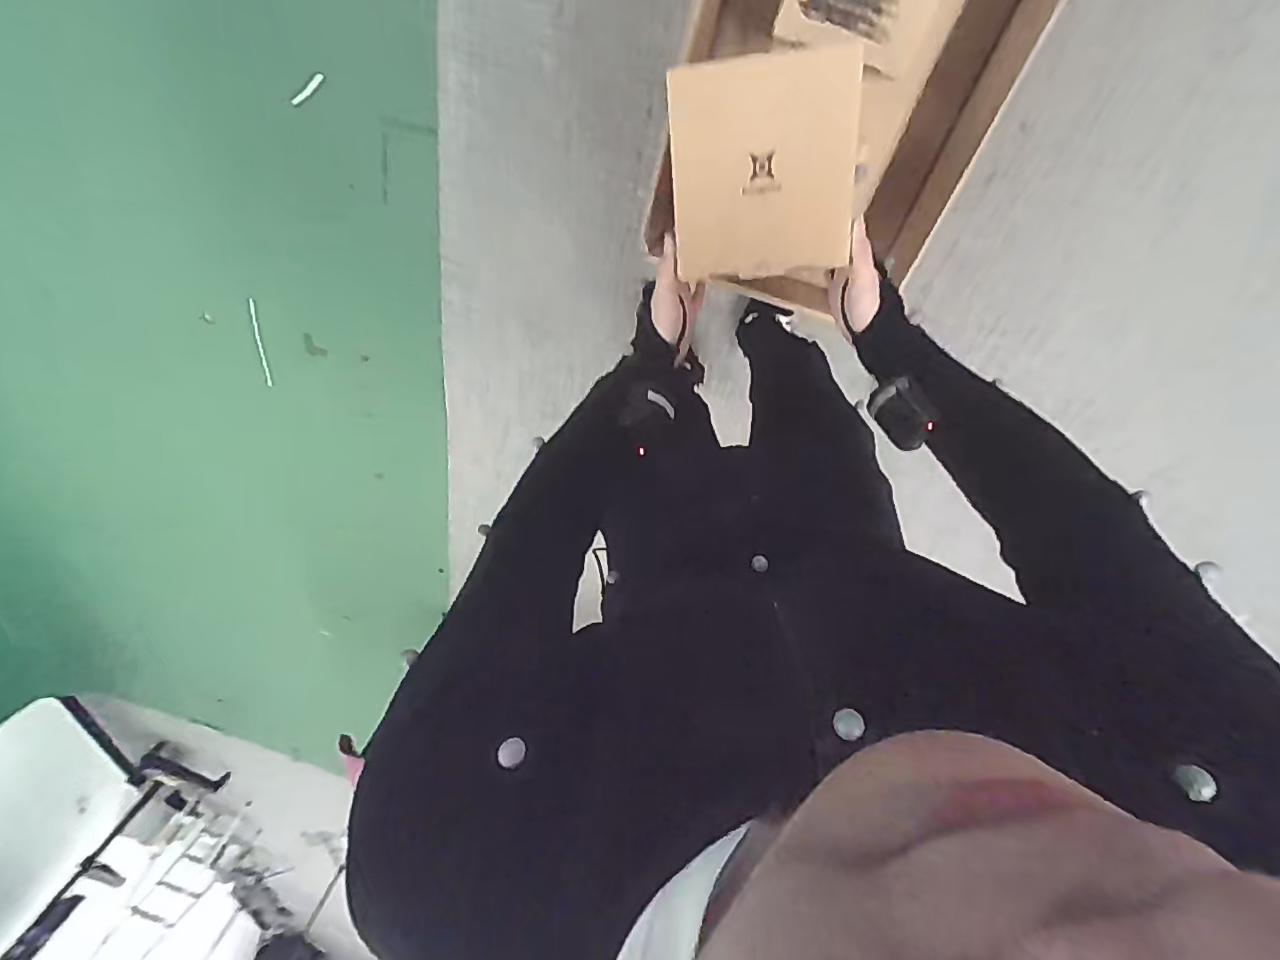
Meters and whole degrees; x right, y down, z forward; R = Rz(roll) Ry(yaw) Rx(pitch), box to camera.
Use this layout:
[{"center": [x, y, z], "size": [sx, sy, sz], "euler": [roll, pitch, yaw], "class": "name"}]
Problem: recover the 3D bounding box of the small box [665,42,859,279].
[{"center": [0.118, -0.317, 0.563], "size": [0.168, 0.176, 0.179], "euler": [-2, 118, 10], "class": "small box"}]
